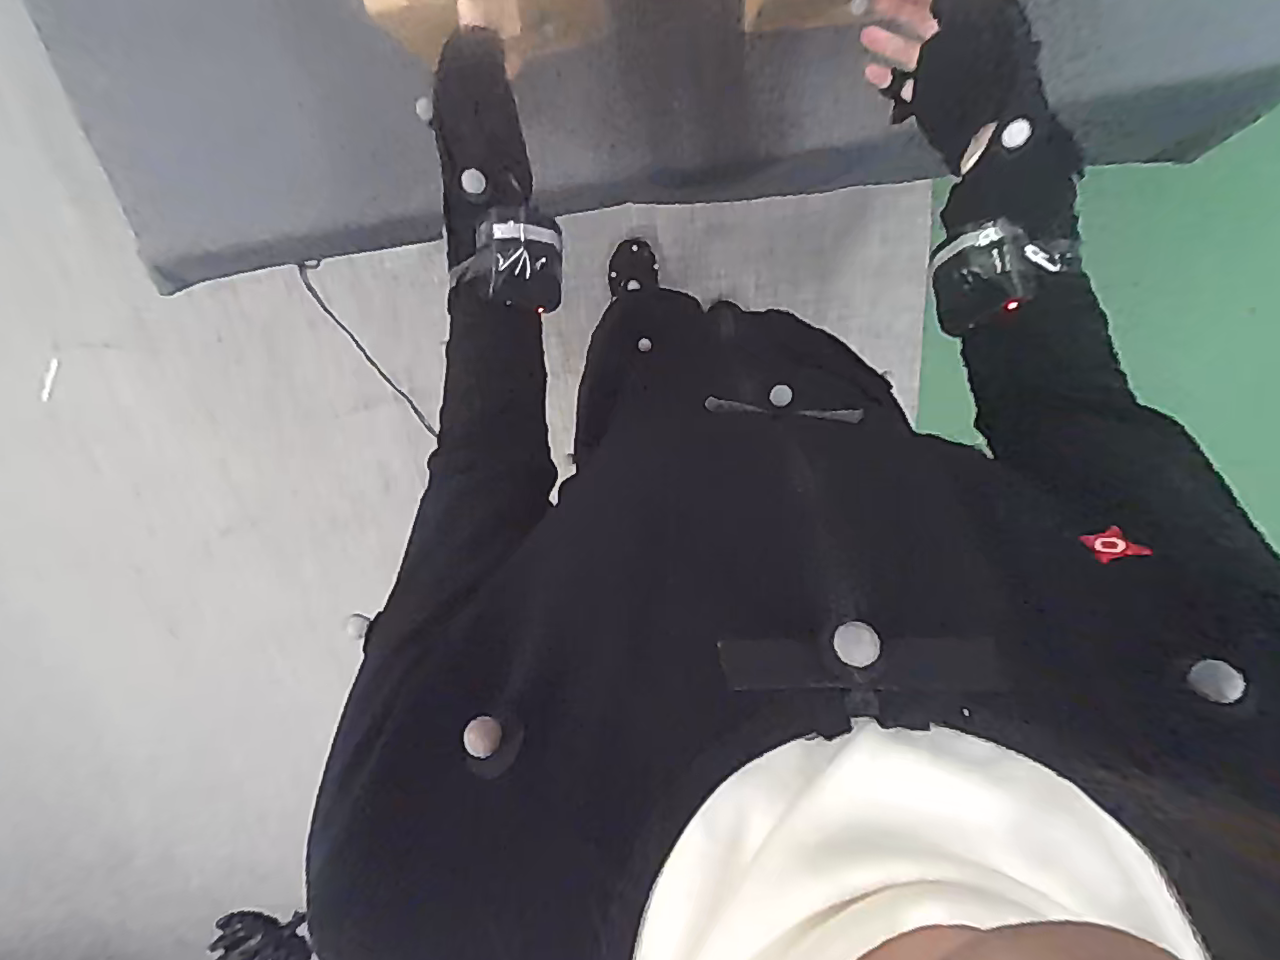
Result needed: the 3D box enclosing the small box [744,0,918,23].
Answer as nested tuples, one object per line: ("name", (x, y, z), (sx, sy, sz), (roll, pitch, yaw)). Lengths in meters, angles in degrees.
("small box", (0.169, -0.478, 0.406), (0.168, 0.176, 0.179), (-4, 114, 3))
